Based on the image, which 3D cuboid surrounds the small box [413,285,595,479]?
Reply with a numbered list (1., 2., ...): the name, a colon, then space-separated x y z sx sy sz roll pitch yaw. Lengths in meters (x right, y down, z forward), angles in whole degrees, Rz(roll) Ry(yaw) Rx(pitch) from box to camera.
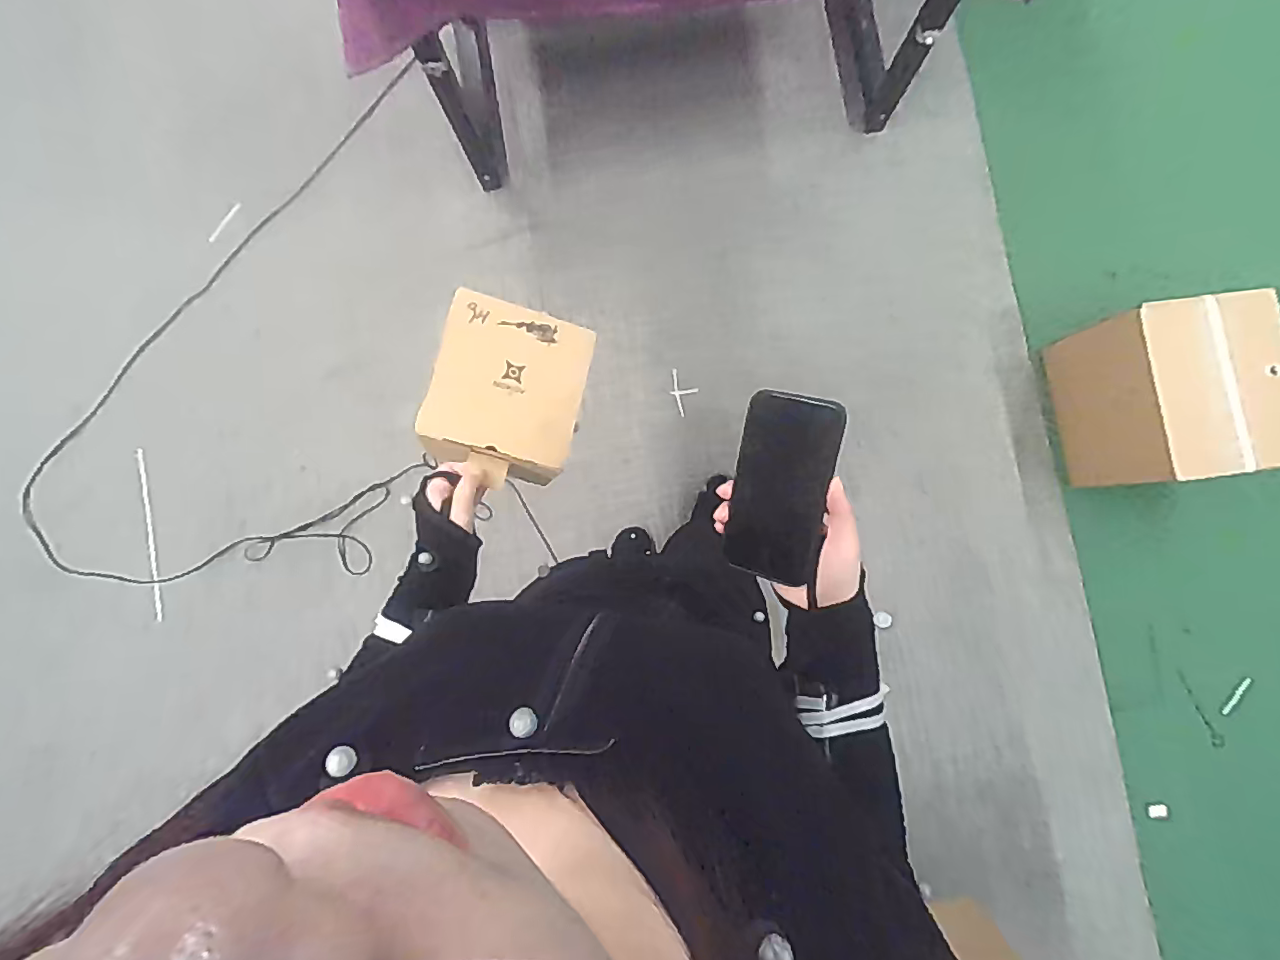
1. small box: -0.169 -0.107 0.683 0.168 0.176 0.179 16 80 -15
